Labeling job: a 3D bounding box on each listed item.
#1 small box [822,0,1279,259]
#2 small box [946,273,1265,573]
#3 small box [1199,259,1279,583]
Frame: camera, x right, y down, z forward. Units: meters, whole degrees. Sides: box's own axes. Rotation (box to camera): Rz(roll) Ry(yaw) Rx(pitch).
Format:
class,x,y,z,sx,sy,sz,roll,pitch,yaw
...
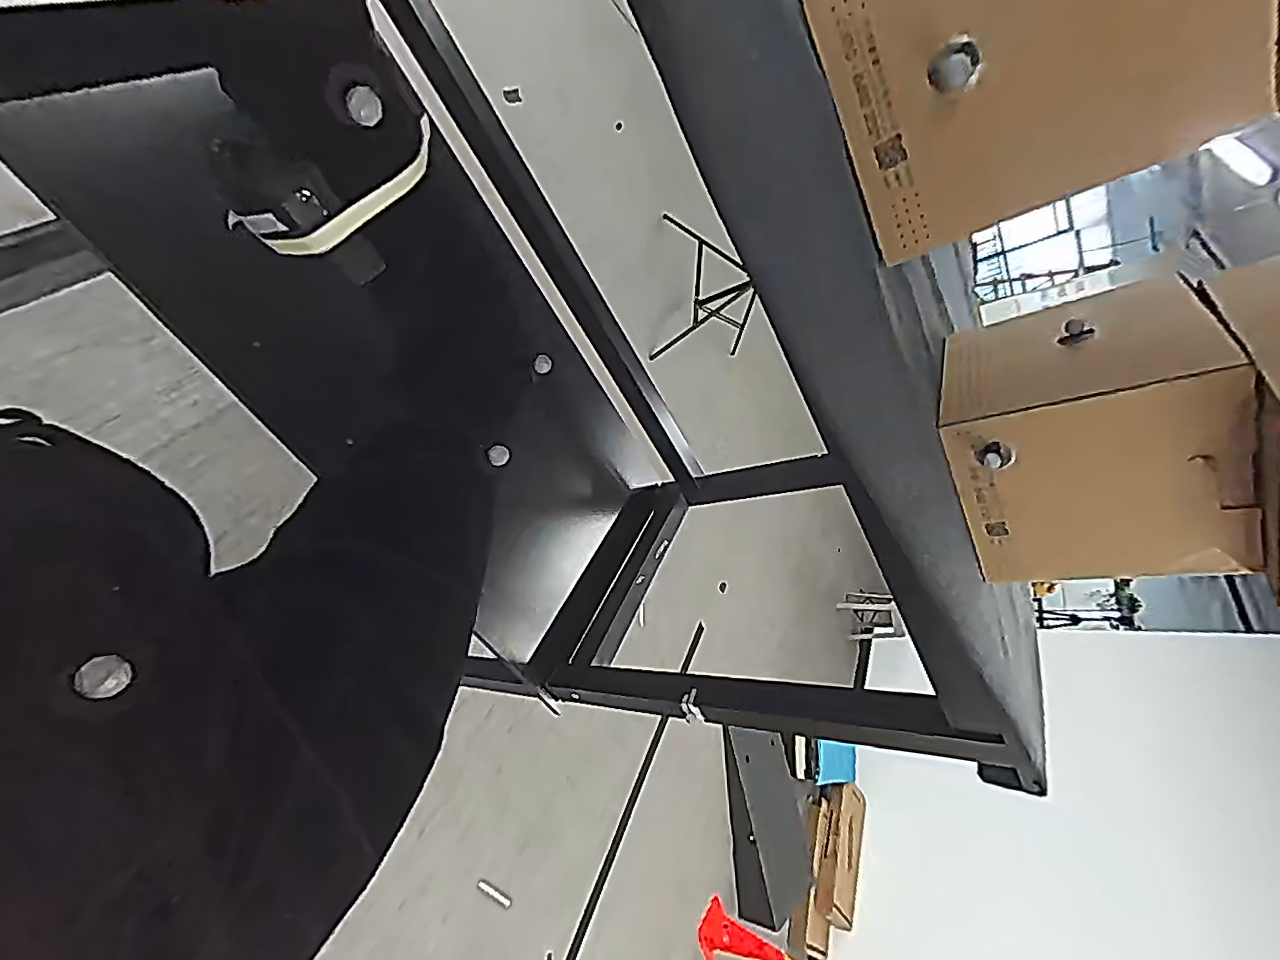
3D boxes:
class,x,y,z,sx,sy,sz,roll,pitch,yaw
small box,0.218,-0.261,0.315,0.168,0.176,0.179,57,41,-25
small box,0.367,-0.039,0.450,0.168,0.176,0.179,60,40,-23
small box,0.480,-0.044,0.330,0.168,0.176,0.179,56,42,-28
